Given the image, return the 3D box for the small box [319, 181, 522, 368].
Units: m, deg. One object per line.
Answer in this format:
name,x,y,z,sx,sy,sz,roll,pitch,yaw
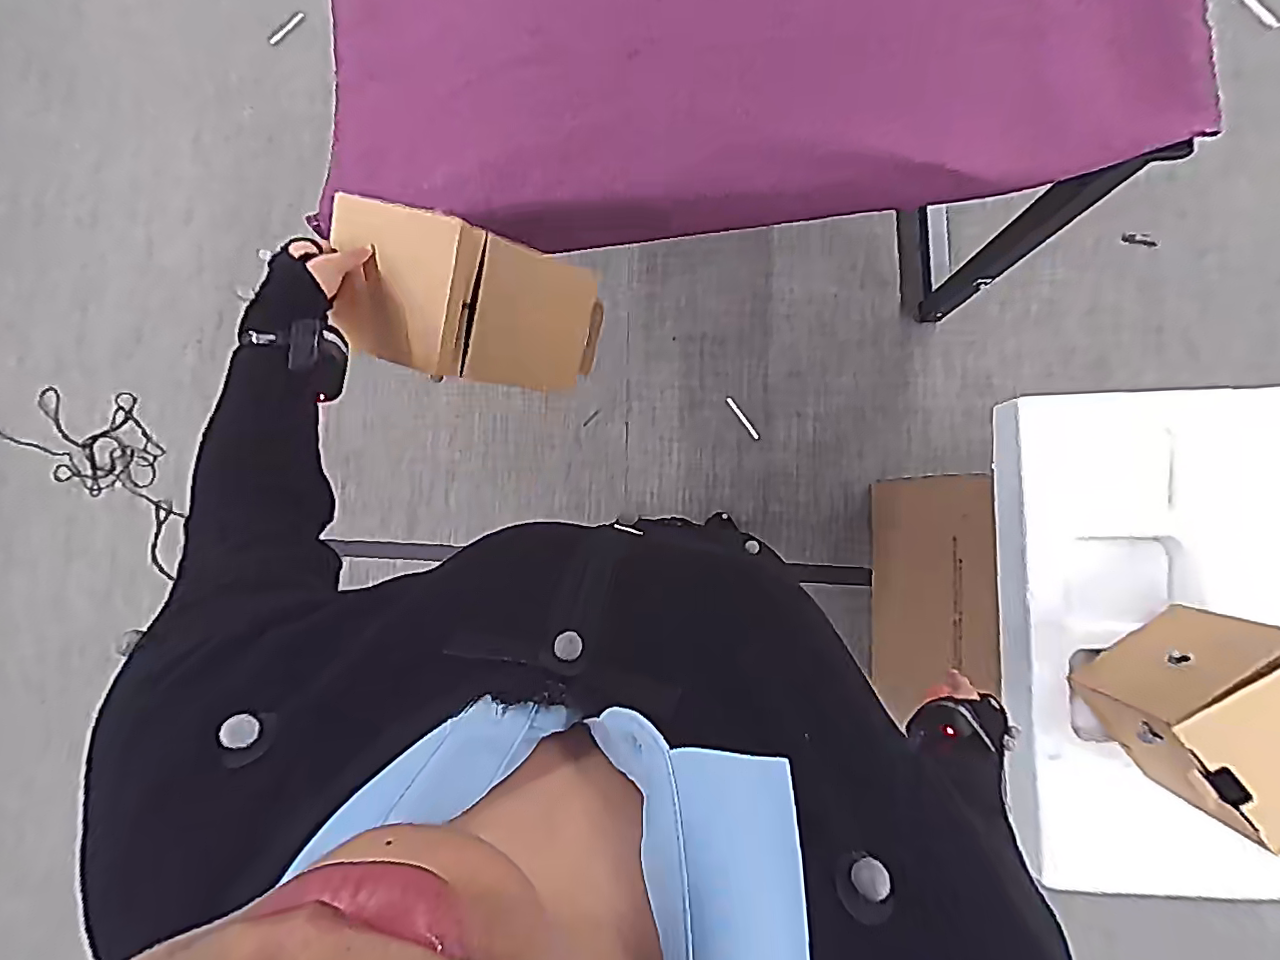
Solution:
small box,-0.262,-0.246,0.683,0.179,0.176,0.168,15,103,0
